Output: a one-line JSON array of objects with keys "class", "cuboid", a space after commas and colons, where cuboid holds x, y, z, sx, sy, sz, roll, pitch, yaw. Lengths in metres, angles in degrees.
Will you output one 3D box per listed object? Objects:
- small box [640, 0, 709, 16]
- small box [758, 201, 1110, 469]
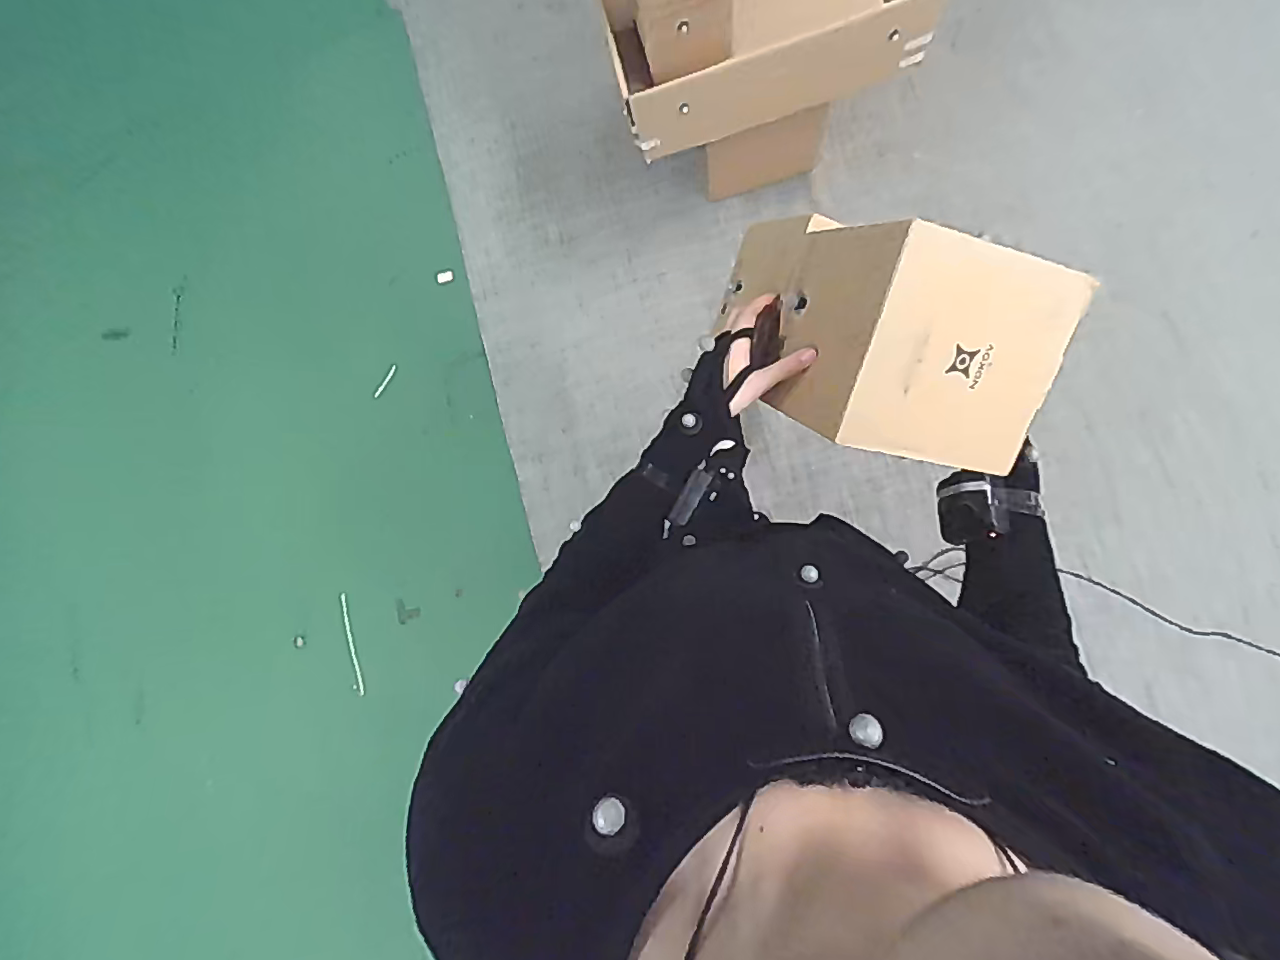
[{"class": "small box", "cuboid": [0.059, -0.940, 0.911, 0.168, 0.176, 0.179, -14, 85, 9]}, {"class": "small box", "cuboid": [0.232, -0.125, 0.475, 0.179, 0.176, 0.168, 10, 108, -14]}]
